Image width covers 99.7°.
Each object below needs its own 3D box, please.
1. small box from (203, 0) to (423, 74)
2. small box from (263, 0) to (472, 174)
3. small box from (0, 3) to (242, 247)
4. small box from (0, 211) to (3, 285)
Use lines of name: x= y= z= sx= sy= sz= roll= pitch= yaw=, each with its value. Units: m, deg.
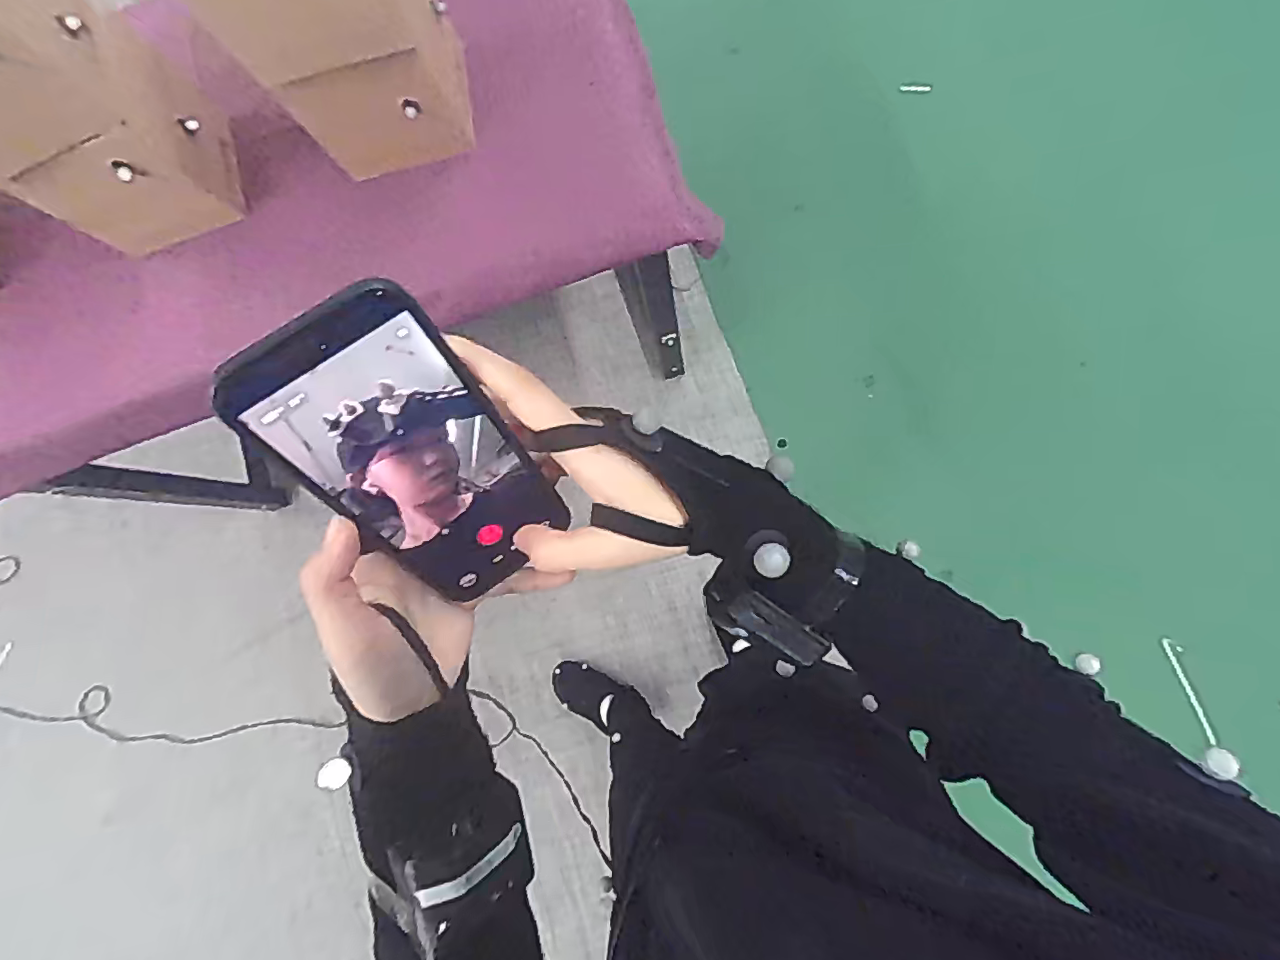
small box: x=-0.327 y=-0.521 z=0.494 sx=0.179 sy=0.176 sz=0.168 roll=-10 pitch=82 yaw=5
small box: x=-0.319 y=-0.513 z=0.658 sx=0.179 sy=0.176 sz=0.168 roll=-10 pitch=82 yaw=6
small box: x=-0.649 y=-0.433 z=0.689 sx=0.179 sy=0.176 sz=0.168 roll=-16 pitch=81 yaw=5
small box: x=-1.028 y=-0.346 z=0.727 sx=0.168 sy=0.176 sz=0.179 roll=-15 pitch=82 yaw=5
